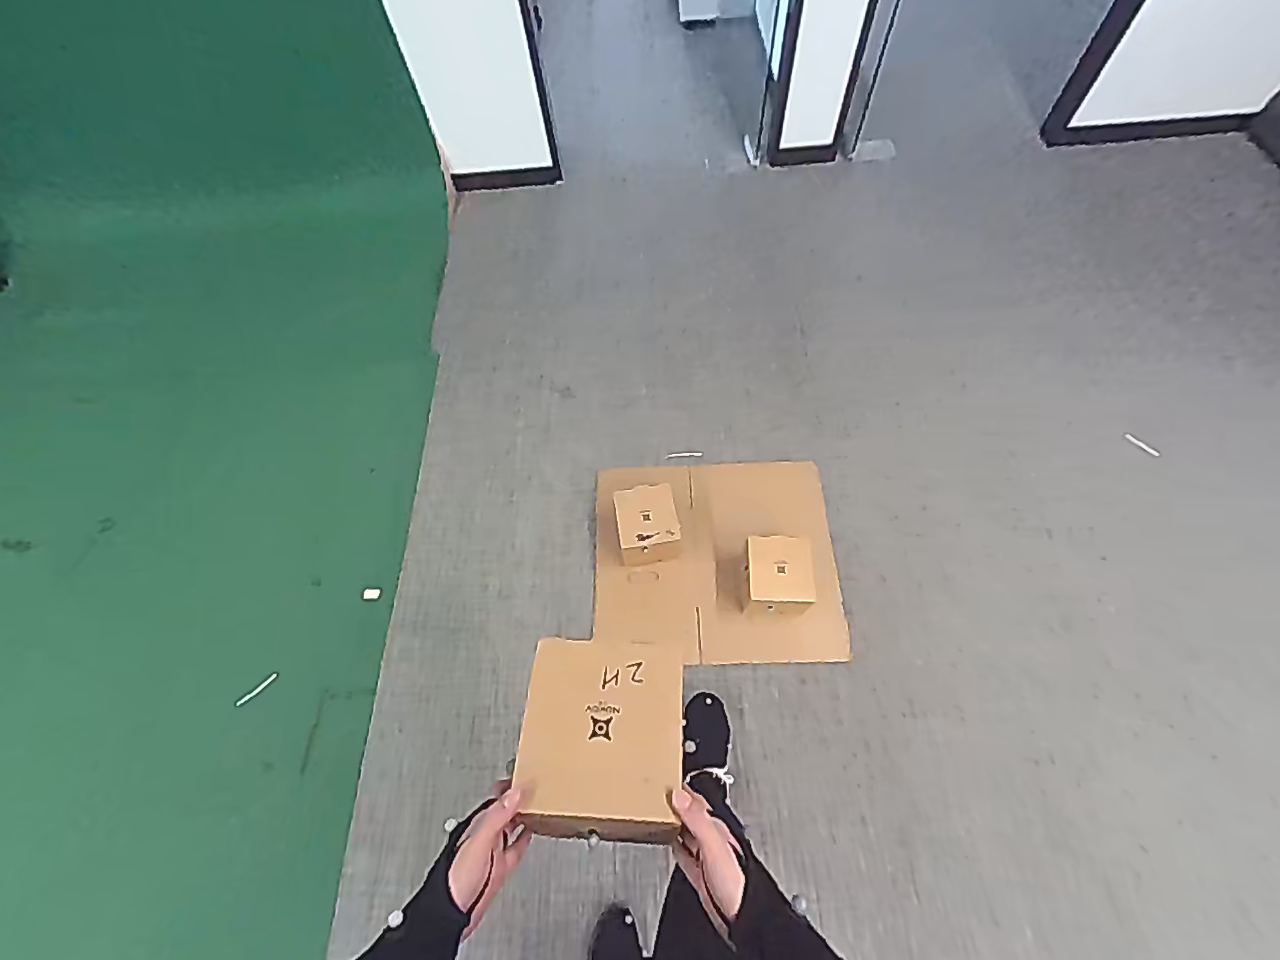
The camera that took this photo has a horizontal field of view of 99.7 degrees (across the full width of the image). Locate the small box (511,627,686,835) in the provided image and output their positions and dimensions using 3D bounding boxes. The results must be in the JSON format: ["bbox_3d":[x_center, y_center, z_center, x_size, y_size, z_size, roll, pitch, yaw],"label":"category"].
[{"bbox_3d":[-0.035,0.290,0.619,0.168,0.176,0.179,3,50,2],"label":"small box"}]

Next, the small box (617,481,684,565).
[{"bbox_3d":[0.029,0.125,1.540,0.168,0.176,0.179,-9,63,-1],"label":"small box"}]

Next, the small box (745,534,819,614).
[{"bbox_3d":[0.373,0.255,1.448,0.168,0.176,0.179,1,63,5],"label":"small box"}]
